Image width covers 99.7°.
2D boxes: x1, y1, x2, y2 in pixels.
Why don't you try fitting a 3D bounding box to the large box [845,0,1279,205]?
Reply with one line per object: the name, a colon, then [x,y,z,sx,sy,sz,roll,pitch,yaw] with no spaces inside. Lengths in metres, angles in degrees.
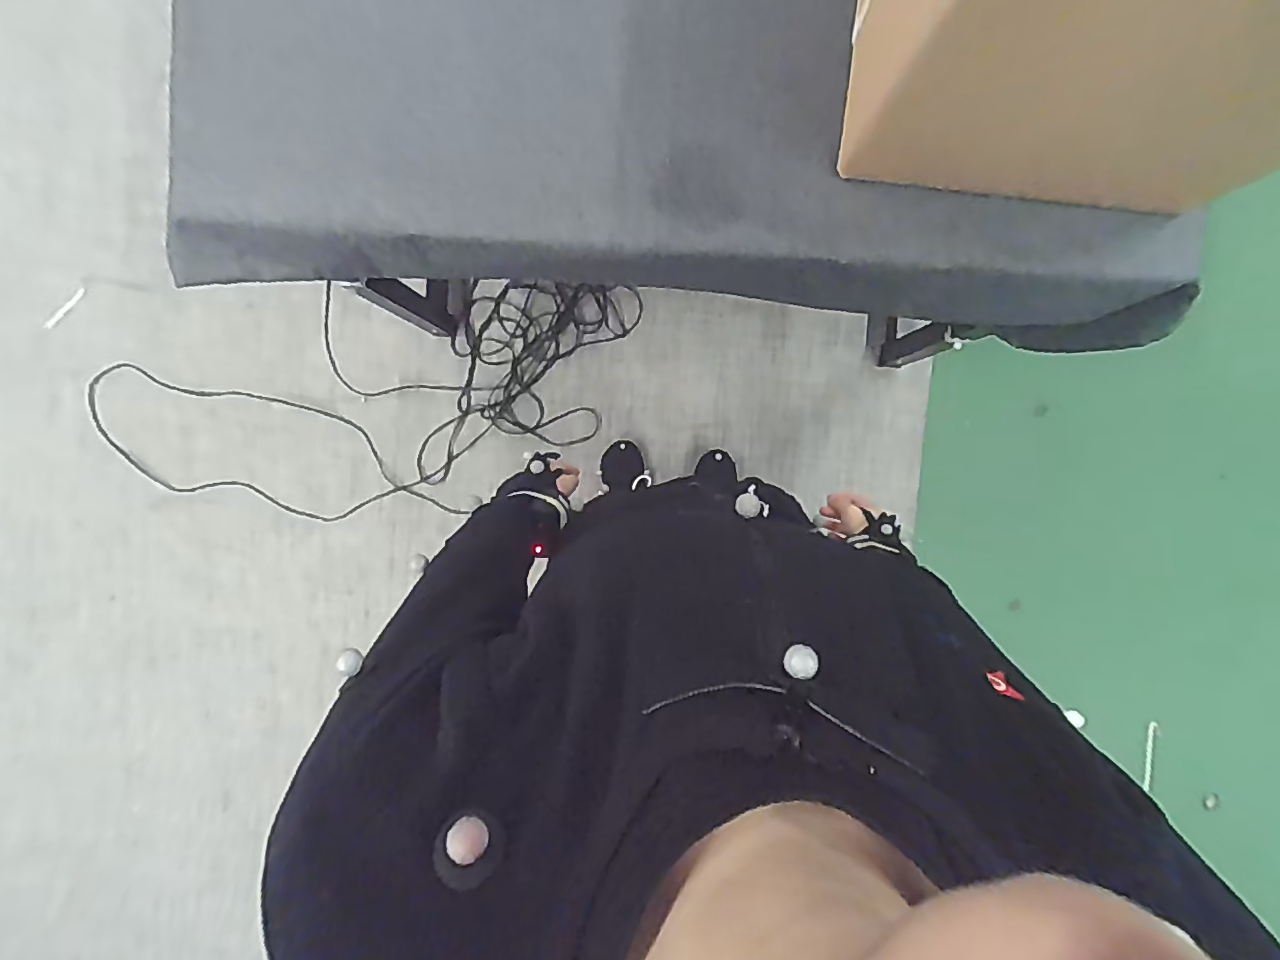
large box: [0.439,-0.475,0.466,0.408,0.320,0.320,6,93,0]
